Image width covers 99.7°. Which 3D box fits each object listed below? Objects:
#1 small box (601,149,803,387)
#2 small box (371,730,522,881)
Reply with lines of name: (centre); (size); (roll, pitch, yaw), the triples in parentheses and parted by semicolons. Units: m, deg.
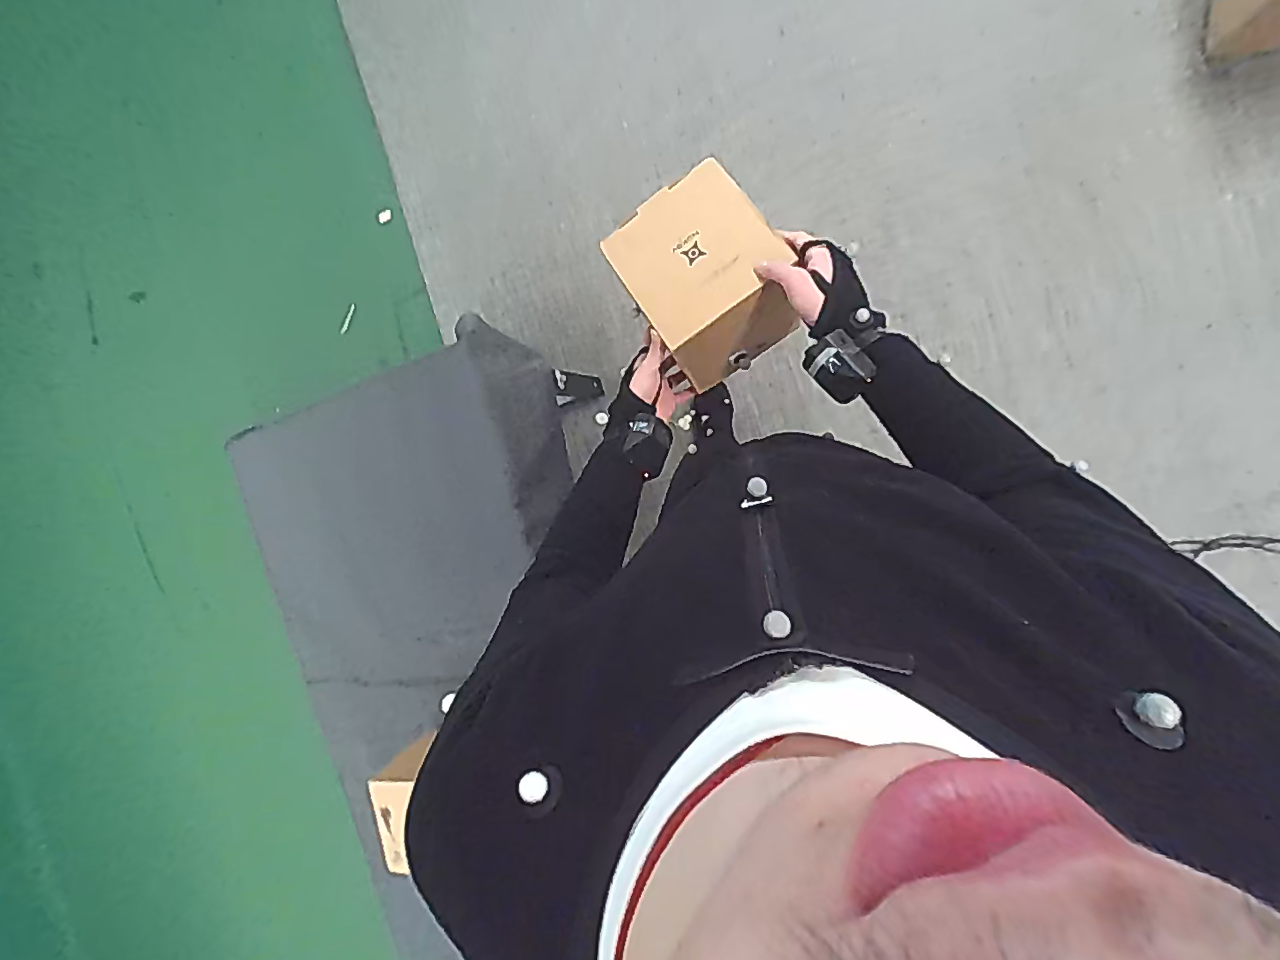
small box: (0.083, -0.245, 0.666); (0.168, 0.176, 0.179); (-33, 72, 11)
small box: (-0.328, 0.567, 0.958); (0.179, 0.176, 0.168); (-14, 93, 18)
